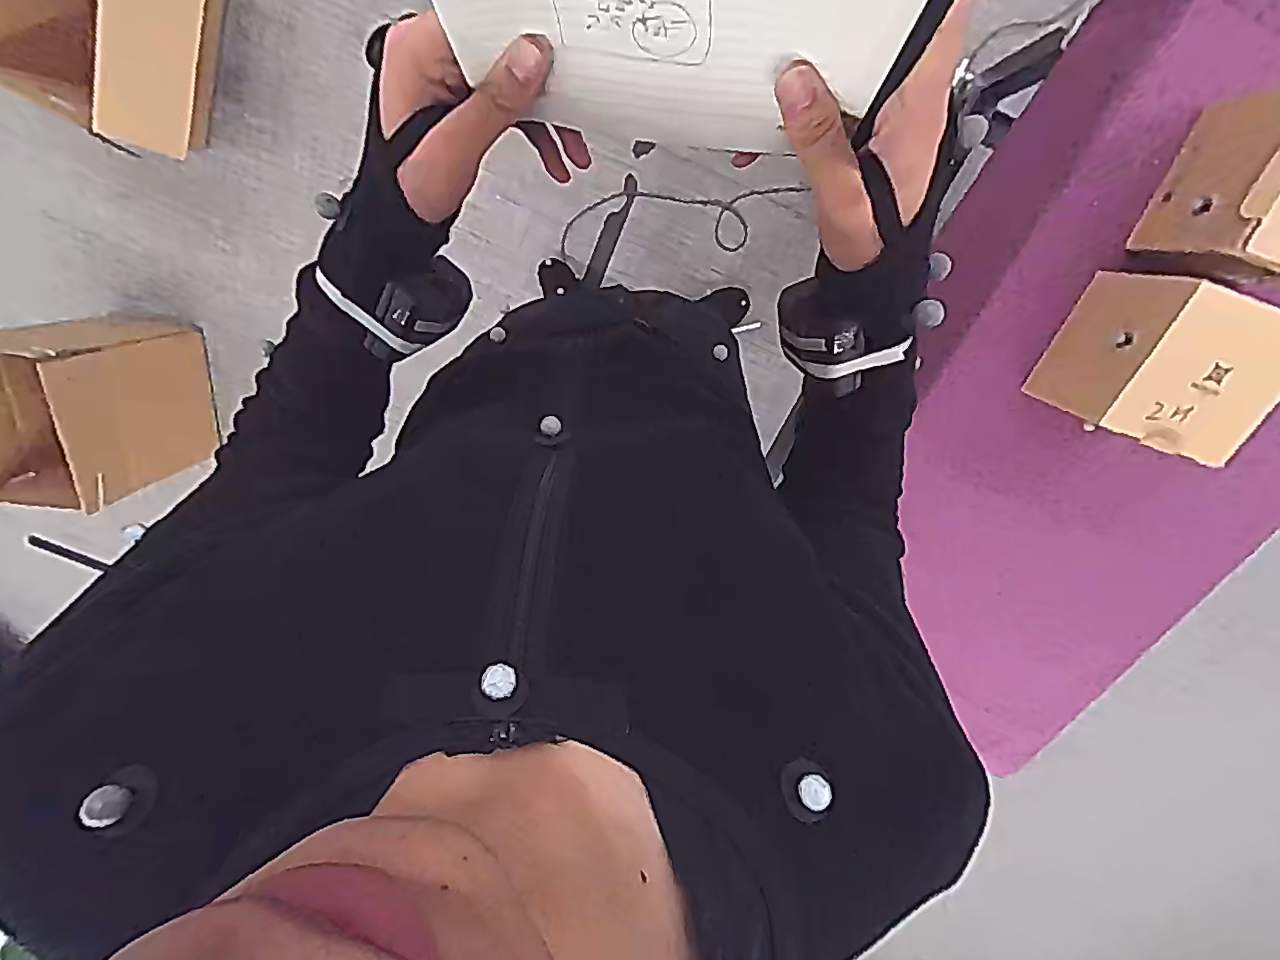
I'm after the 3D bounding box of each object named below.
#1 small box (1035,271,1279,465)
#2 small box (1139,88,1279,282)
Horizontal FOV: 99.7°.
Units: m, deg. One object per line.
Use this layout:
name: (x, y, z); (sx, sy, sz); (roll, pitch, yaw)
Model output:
small box: (0.657, -0.150, 0.682); (0.168, 0.176, 0.179); (19, 115, -3)
small box: (0.733, -0.321, 0.599); (0.179, 0.176, 0.168); (16, 115, -2)
